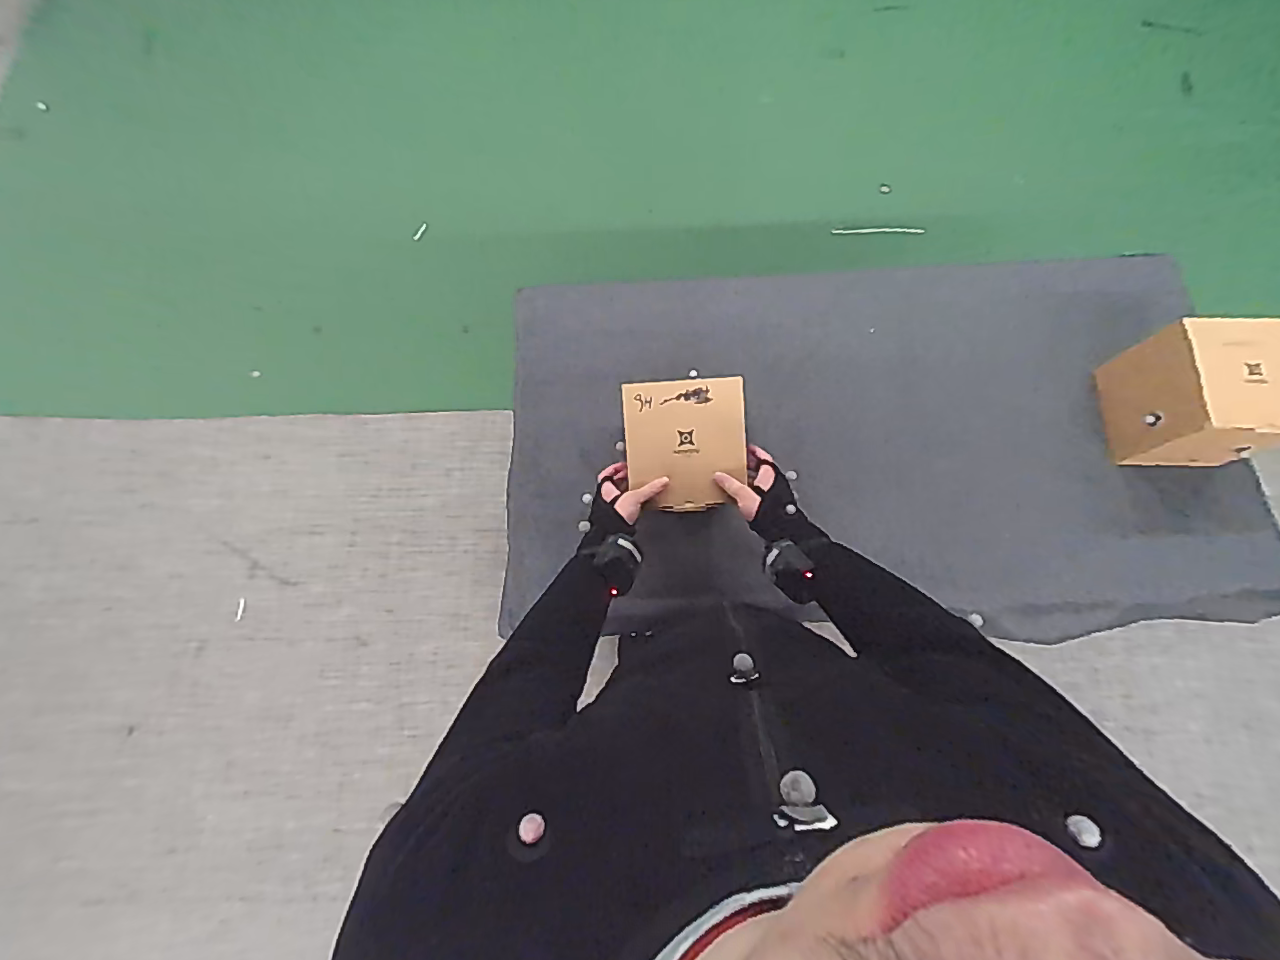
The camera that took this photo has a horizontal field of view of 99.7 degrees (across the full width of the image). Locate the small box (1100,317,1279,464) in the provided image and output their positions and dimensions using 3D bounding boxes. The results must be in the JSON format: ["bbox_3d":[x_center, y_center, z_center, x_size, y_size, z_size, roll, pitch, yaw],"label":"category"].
[{"bbox_3d":[0.868,-0.128,0.832,0.168,0.176,0.179,1,73,1],"label":"small box"}]

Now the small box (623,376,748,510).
[{"bbox_3d":[0.063,-0.057,0.810,0.168,0.176,0.179,-4,95,0],"label":"small box"}]
